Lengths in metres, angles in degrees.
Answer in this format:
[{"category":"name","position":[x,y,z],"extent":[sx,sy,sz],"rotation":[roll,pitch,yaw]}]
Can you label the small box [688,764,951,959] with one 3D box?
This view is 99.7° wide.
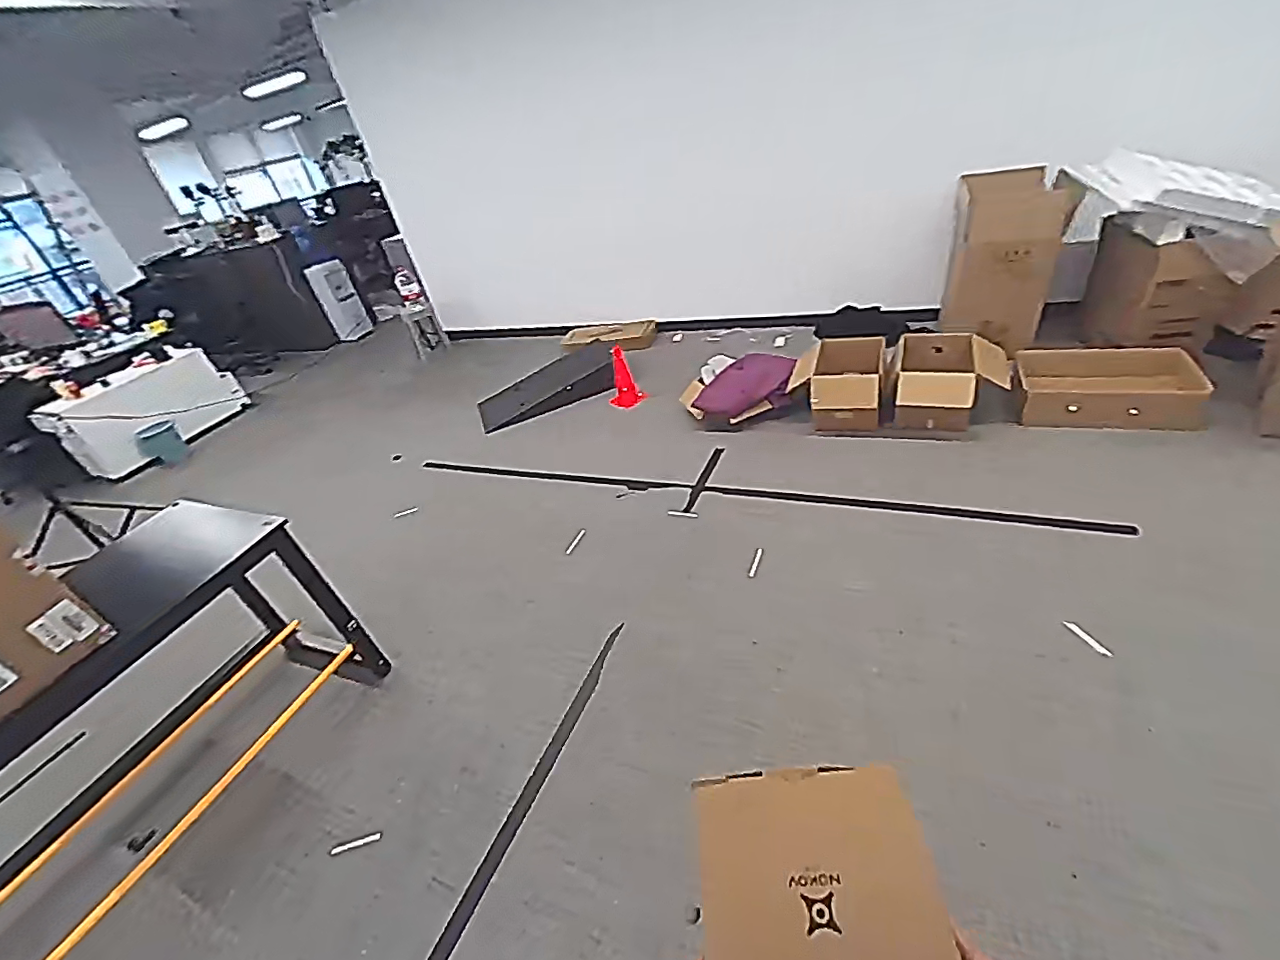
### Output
[{"category":"small box","position":[0.129,0.352,0.431],"extent":[0.168,0.176,0.179],"rotation":[-7,44,5]}]
